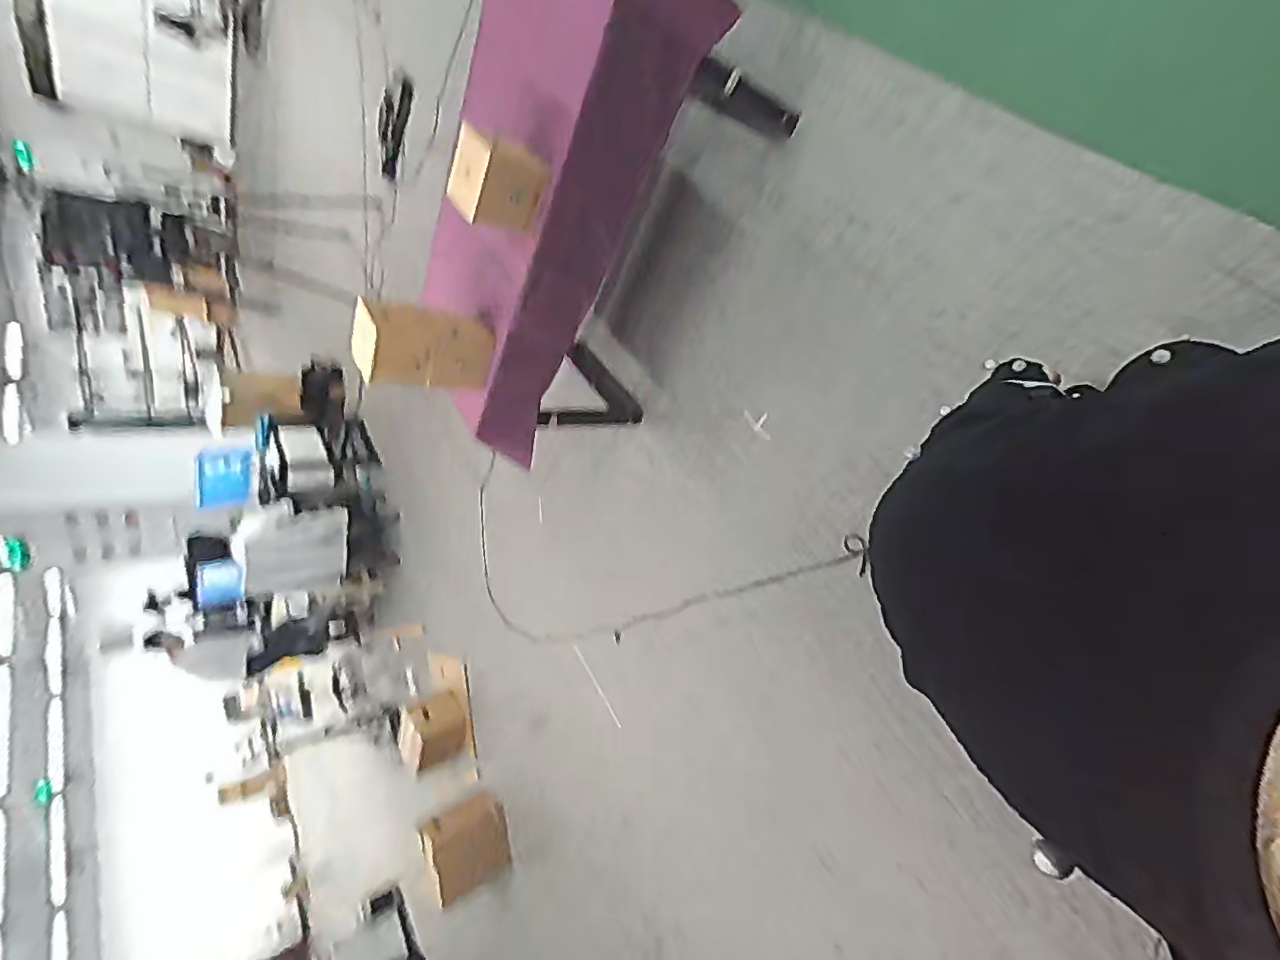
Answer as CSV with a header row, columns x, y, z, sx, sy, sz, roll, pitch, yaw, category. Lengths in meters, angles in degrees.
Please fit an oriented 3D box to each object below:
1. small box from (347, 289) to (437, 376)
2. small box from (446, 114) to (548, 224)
x,y,z,sx,sy,sz,roll,pitch,yaw,category
-0.690,-0.402,1.501,0.179,0.176,0.168,51,128,29,small box
-0.355,-0.761,1.344,0.179,0.176,0.168,54,129,28,small box
